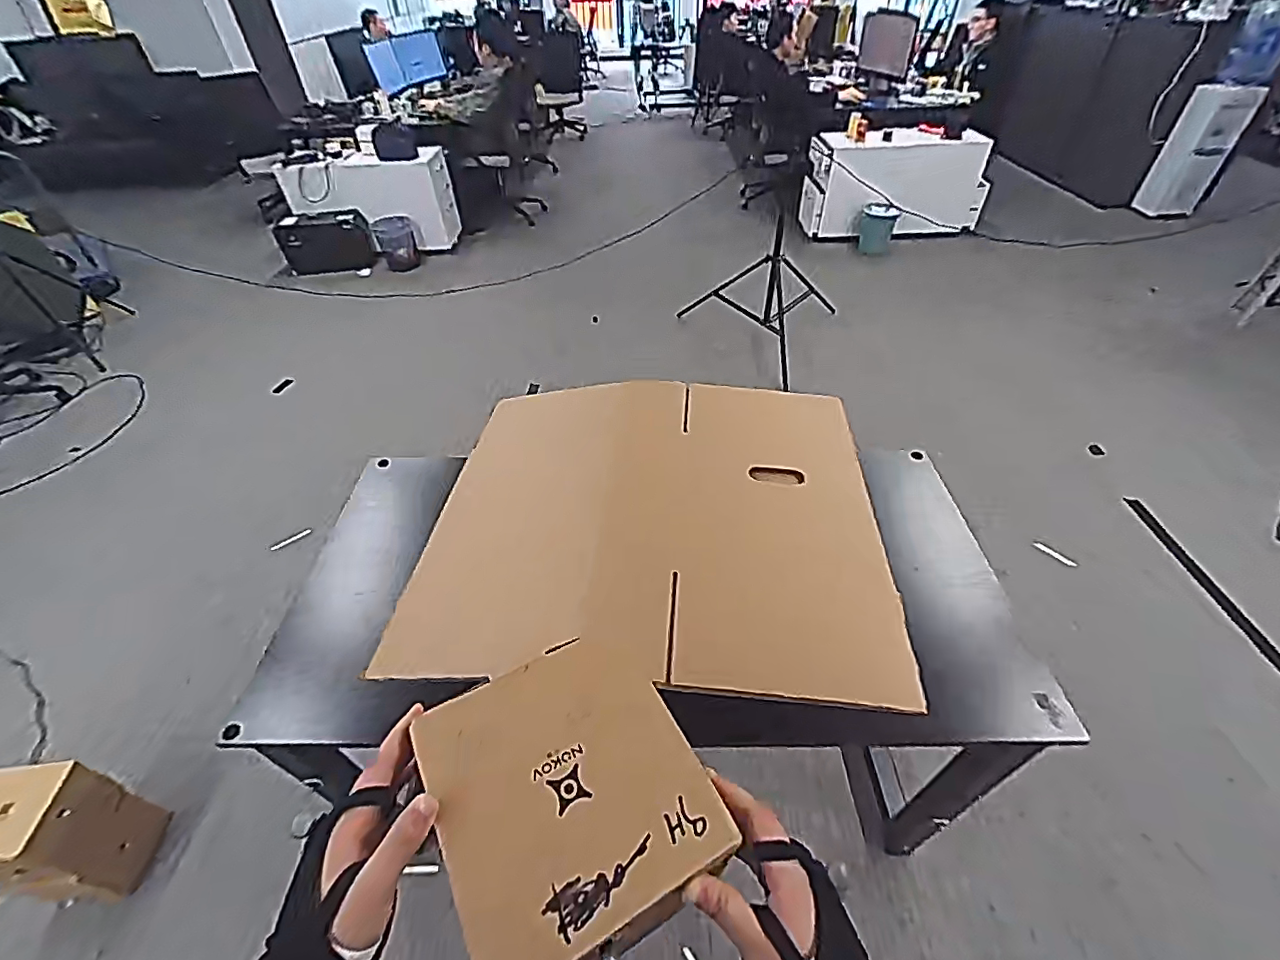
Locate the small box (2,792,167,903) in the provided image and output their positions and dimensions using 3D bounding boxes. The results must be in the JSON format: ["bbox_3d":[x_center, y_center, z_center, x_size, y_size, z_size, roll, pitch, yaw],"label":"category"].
[{"bbox_3d":[-1.244,0.839,1.235,0.168,0.176,0.179,-4,45,-1],"label":"small box"}]

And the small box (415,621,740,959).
[{"bbox_3d":[-0.051,0.250,0.414,0.168,0.176,0.179,-22,49,-22],"label":"small box"}]

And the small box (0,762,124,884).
[{"bbox_3d":[-1.250,0.718,1.127,0.168,0.176,0.179,-5,43,-4],"label":"small box"}]
